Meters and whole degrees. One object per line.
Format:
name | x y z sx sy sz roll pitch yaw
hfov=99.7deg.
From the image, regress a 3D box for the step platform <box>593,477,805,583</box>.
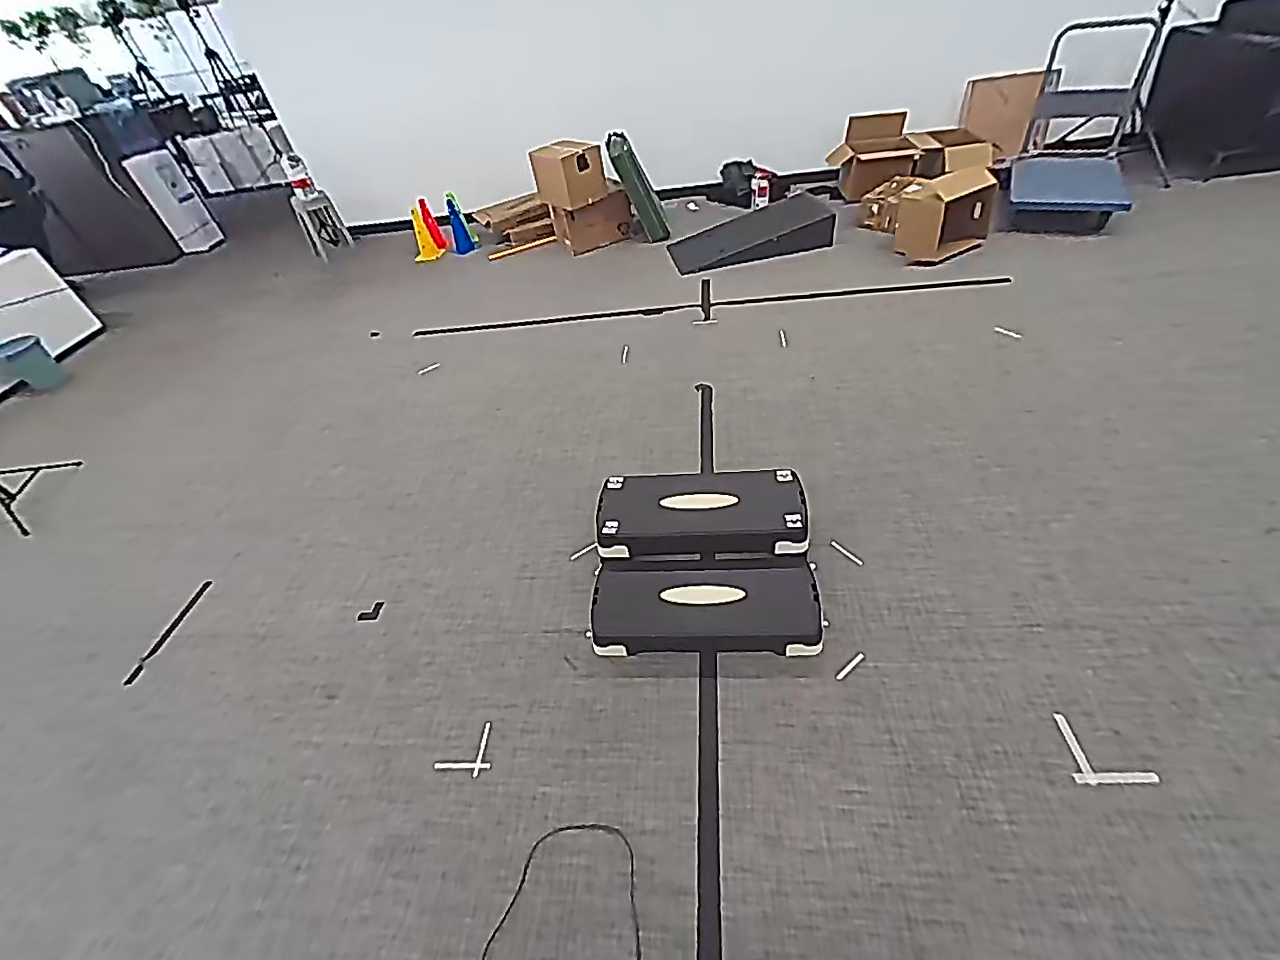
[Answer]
step platform | 0.186 0.160 1.778 0.684 0.204 0.286 -3 45 7
